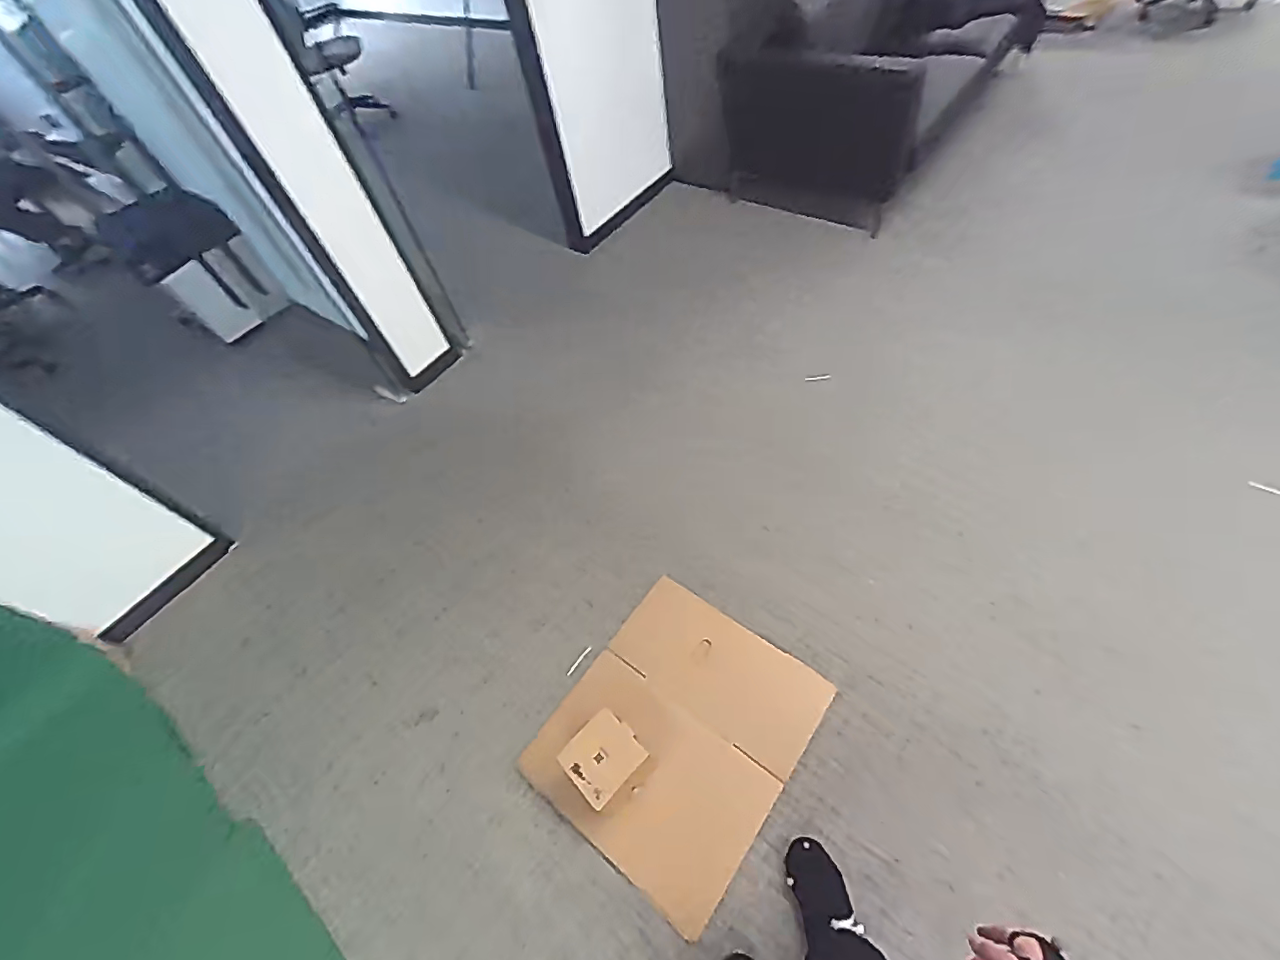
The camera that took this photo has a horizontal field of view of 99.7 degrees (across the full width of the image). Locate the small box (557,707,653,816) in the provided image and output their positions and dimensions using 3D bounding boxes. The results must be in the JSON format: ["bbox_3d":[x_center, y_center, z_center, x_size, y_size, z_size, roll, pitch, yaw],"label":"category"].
[{"bbox_3d":[-0.081,0.722,1.382,0.179,0.176,0.168,-41,58,-19],"label":"small box"}]
